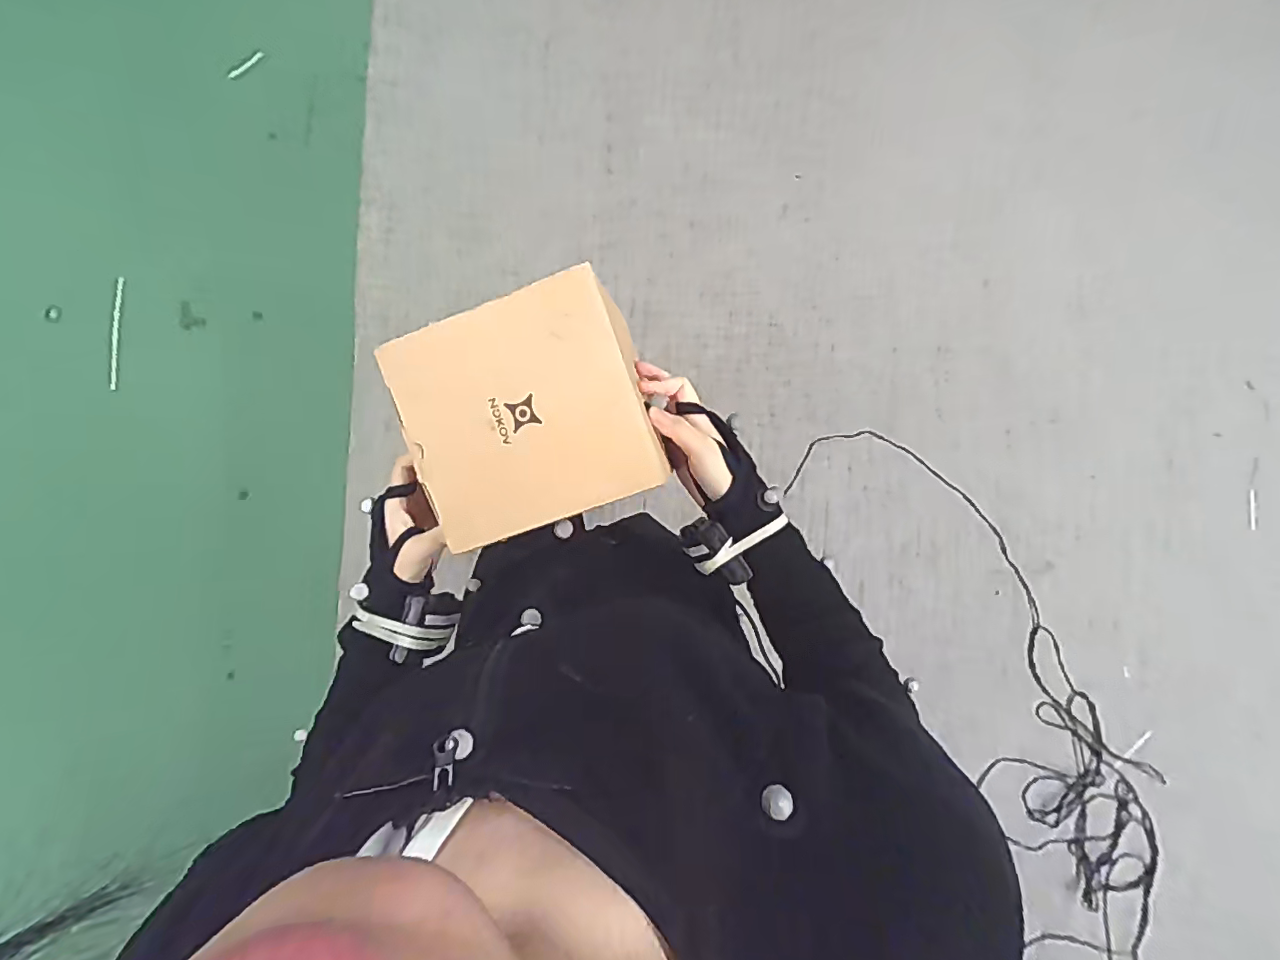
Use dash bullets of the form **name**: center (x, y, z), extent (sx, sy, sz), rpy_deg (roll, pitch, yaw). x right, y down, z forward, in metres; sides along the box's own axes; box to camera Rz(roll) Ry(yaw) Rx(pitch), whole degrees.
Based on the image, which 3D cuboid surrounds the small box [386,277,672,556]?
- **small box**: center (-0.077, -0.052, 0.479), extent (0.179, 0.176, 0.168), rpy_deg (-19, 93, 9)
